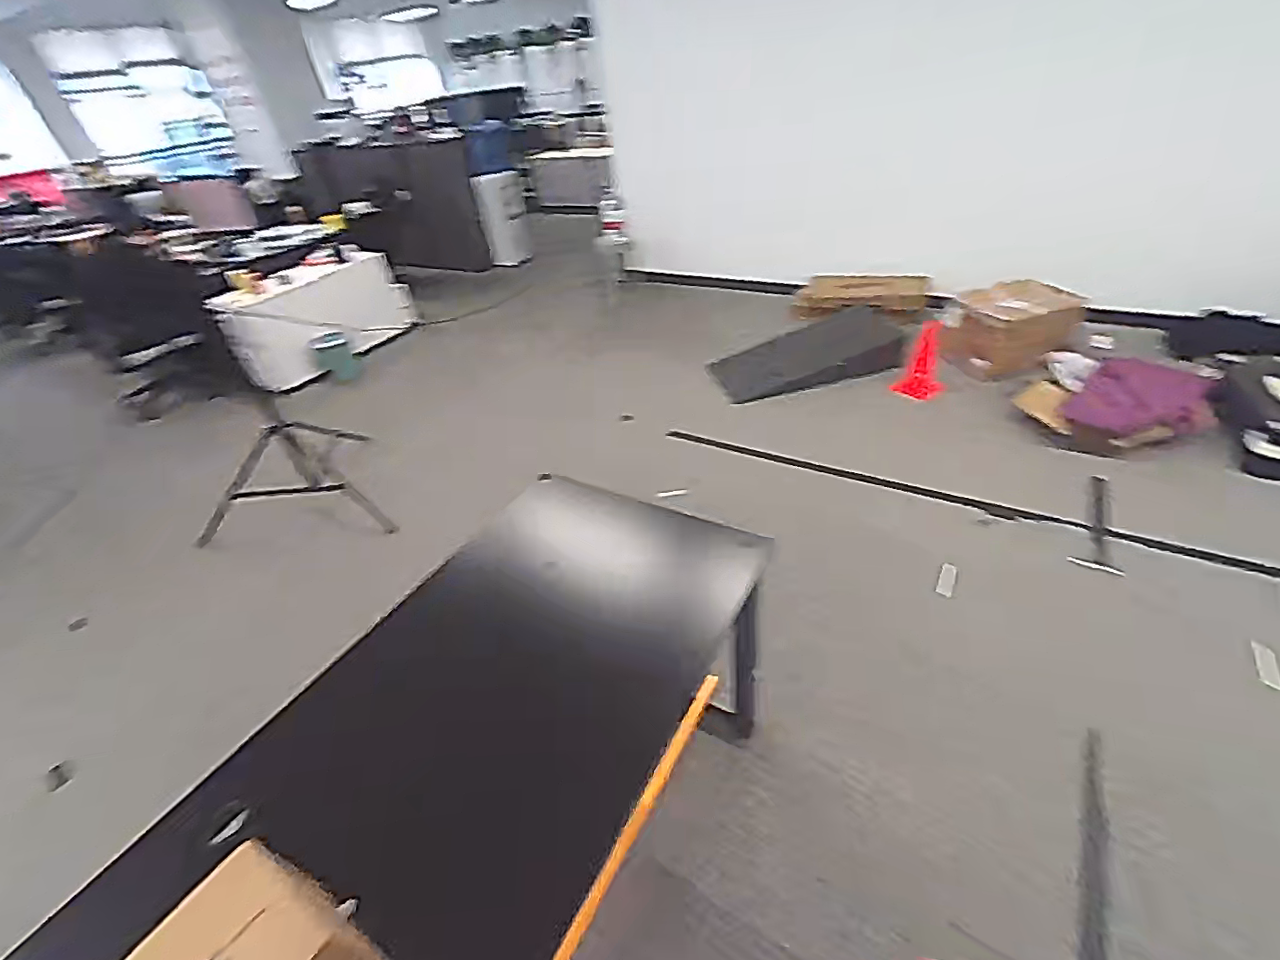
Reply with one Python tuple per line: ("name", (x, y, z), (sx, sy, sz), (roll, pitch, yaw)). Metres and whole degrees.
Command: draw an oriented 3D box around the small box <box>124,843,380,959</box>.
("small box", (-0.410, 0.536, 0.560), (0.168, 0.176, 0.179), (16, 43, 28))
